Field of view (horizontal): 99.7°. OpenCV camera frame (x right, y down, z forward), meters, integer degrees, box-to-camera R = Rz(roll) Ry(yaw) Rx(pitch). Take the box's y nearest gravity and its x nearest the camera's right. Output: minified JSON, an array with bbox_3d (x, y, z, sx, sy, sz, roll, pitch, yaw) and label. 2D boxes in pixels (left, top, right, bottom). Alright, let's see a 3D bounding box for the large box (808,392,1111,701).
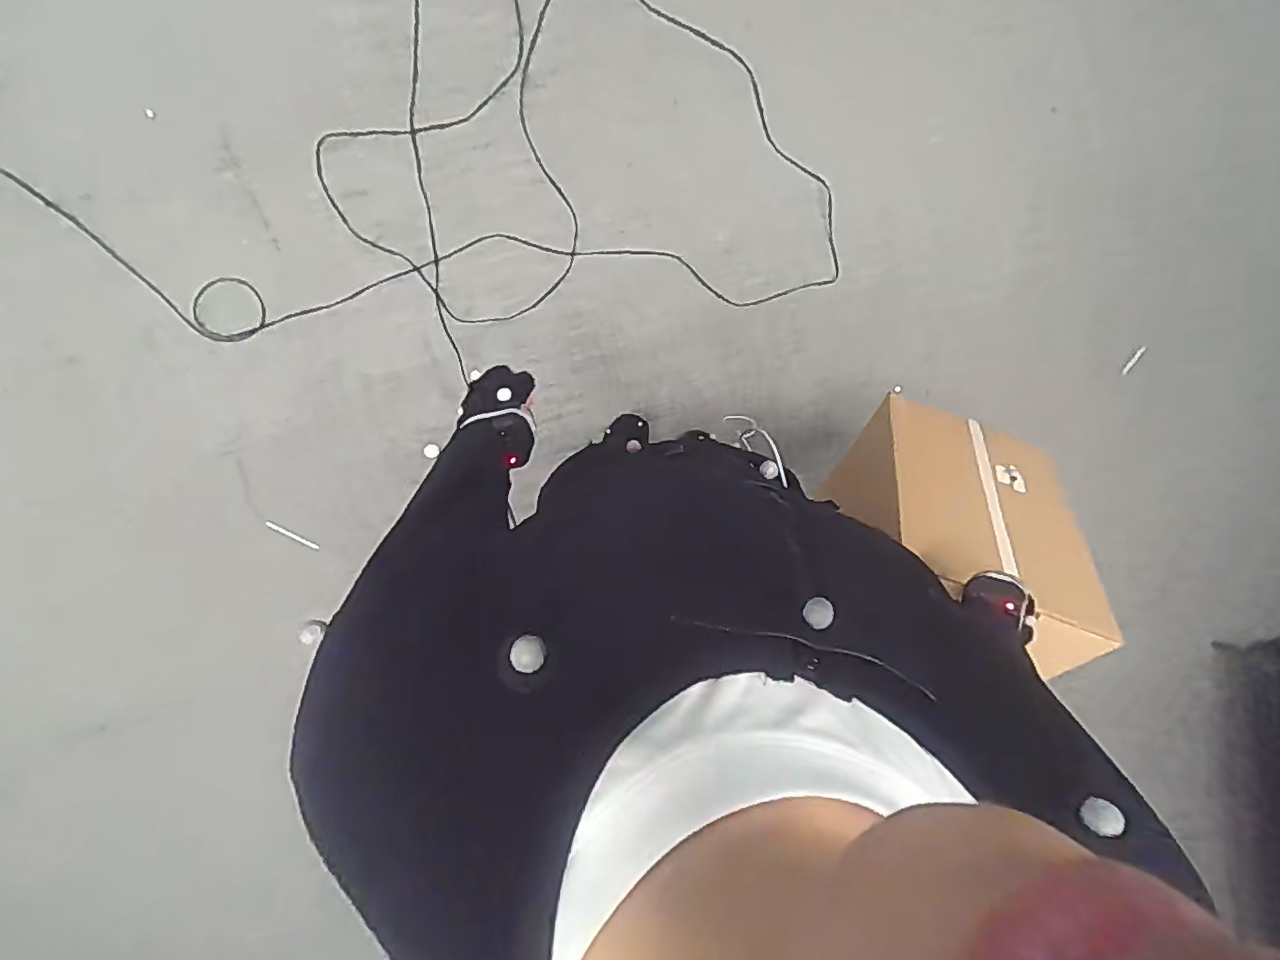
[{"bbox_3d":[0.514,0.116,0.978,0.320,0.408,0.320,20,137,0],"label":"large box"}]
